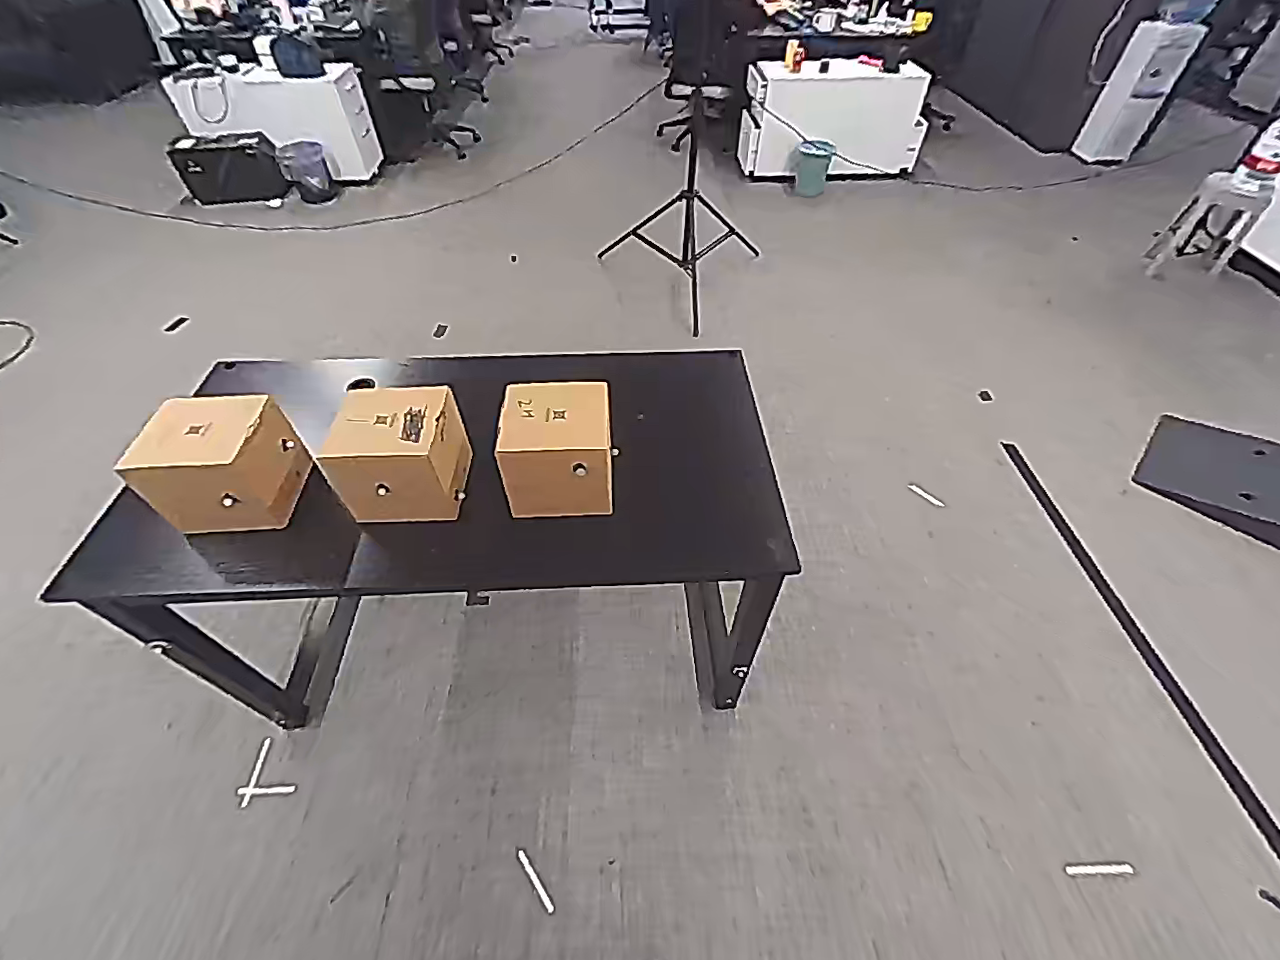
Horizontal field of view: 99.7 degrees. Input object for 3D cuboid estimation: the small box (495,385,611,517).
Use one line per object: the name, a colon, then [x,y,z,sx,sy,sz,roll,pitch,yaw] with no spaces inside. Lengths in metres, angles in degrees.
small box: [-0.141,-0.049,0.948,0.179,0.176,0.168,-3,48,-1]

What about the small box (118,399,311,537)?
small box: [-0.705,-0.019,0.927,0.179,0.176,0.168,-4,48,-3]

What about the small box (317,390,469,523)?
small box: [-0.411,-0.038,0.941,0.179,0.176,0.168,-2,49,0]
